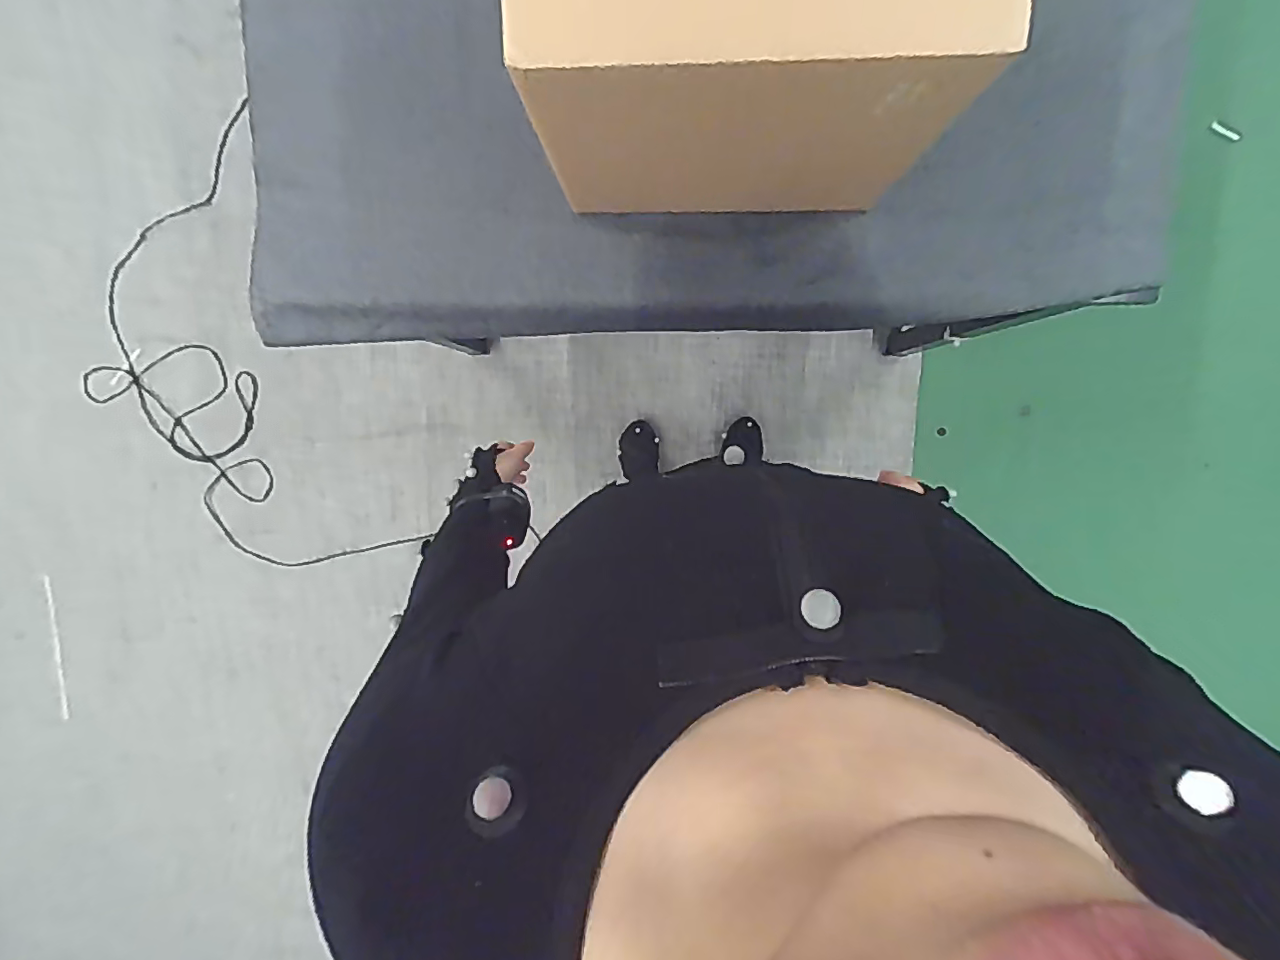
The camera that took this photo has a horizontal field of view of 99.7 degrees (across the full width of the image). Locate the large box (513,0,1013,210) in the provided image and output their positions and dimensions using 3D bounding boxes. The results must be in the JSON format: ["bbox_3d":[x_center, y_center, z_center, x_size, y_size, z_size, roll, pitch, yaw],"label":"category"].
[{"bbox_3d":[0.097,-0.505,0.567,0.408,0.320,0.320,0,97,2],"label":"large box"}]
